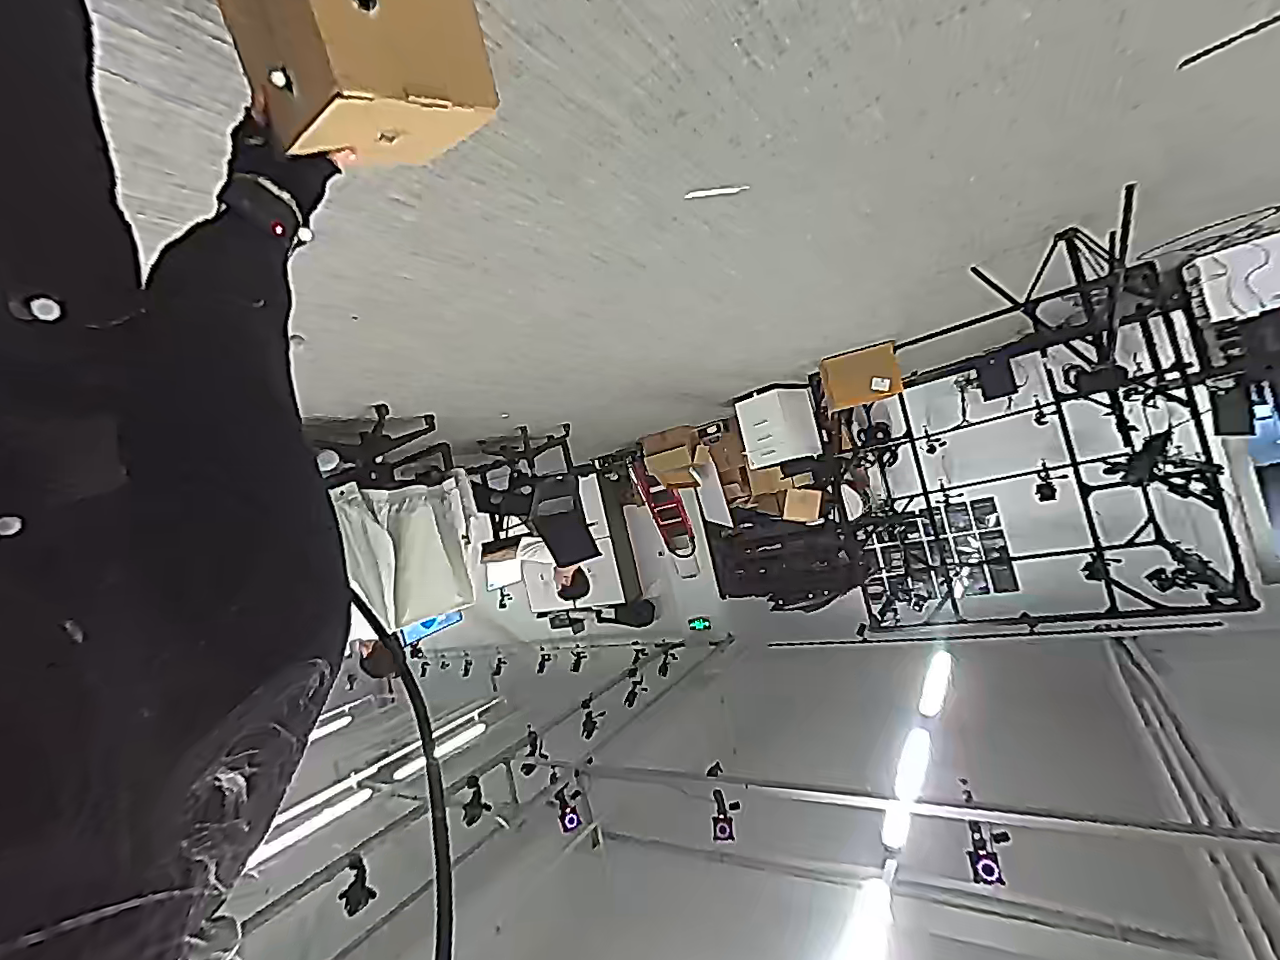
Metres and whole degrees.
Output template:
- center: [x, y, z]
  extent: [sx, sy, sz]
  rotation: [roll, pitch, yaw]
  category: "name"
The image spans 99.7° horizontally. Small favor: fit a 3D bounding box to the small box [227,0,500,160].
- center: [-0.269, -0.427, 0.519]
  extent: [0.179, 0.176, 0.168]
  rotation: [7, -154, 40]
  category: "small box"
